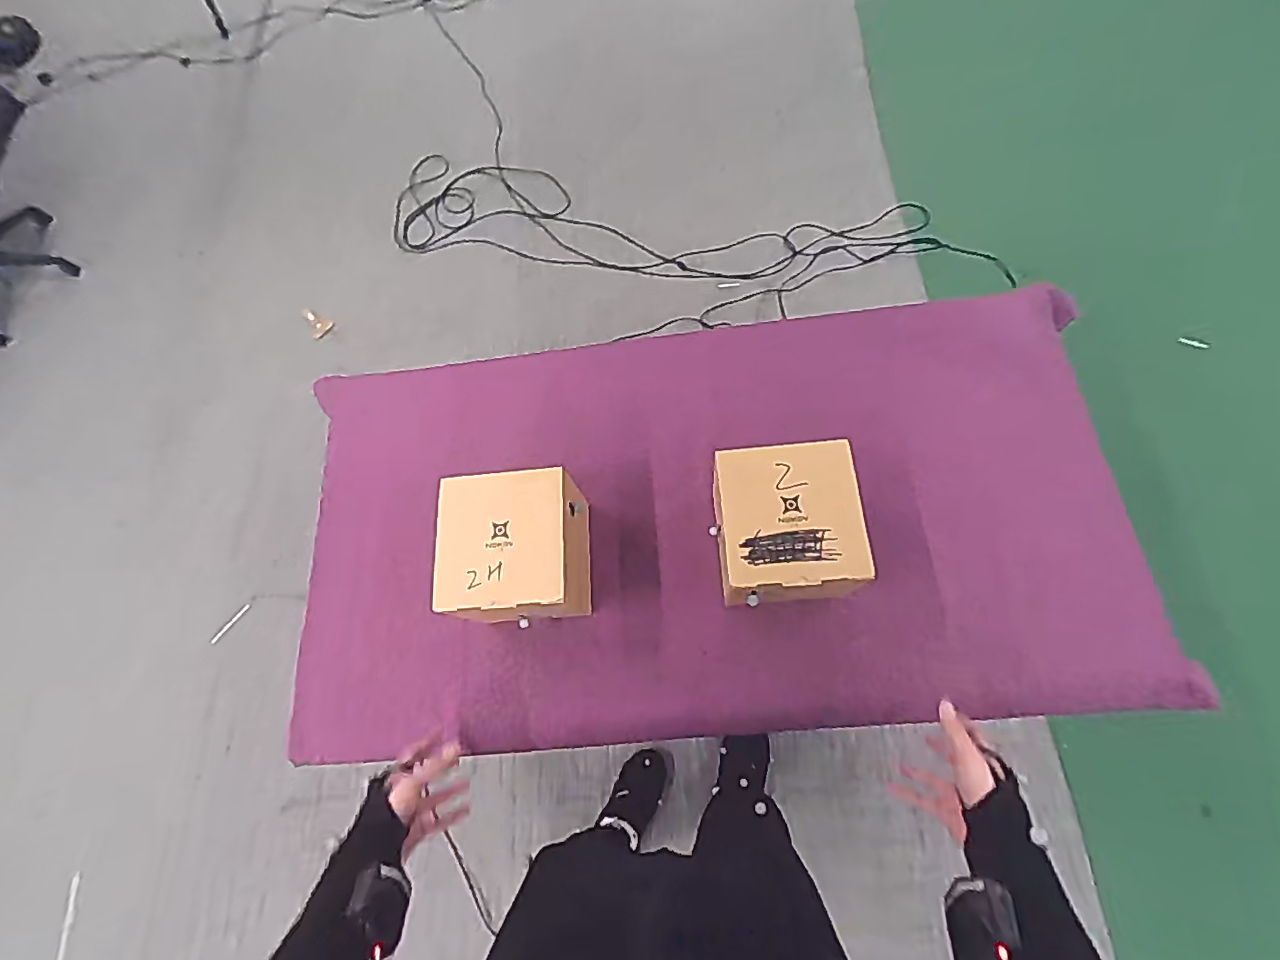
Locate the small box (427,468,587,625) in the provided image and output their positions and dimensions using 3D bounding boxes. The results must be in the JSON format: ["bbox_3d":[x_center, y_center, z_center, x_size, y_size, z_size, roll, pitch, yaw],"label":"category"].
[{"bbox_3d":[-0.169,0.098,0.741,0.168,0.176,0.179,-5,71,5],"label":"small box"}]
